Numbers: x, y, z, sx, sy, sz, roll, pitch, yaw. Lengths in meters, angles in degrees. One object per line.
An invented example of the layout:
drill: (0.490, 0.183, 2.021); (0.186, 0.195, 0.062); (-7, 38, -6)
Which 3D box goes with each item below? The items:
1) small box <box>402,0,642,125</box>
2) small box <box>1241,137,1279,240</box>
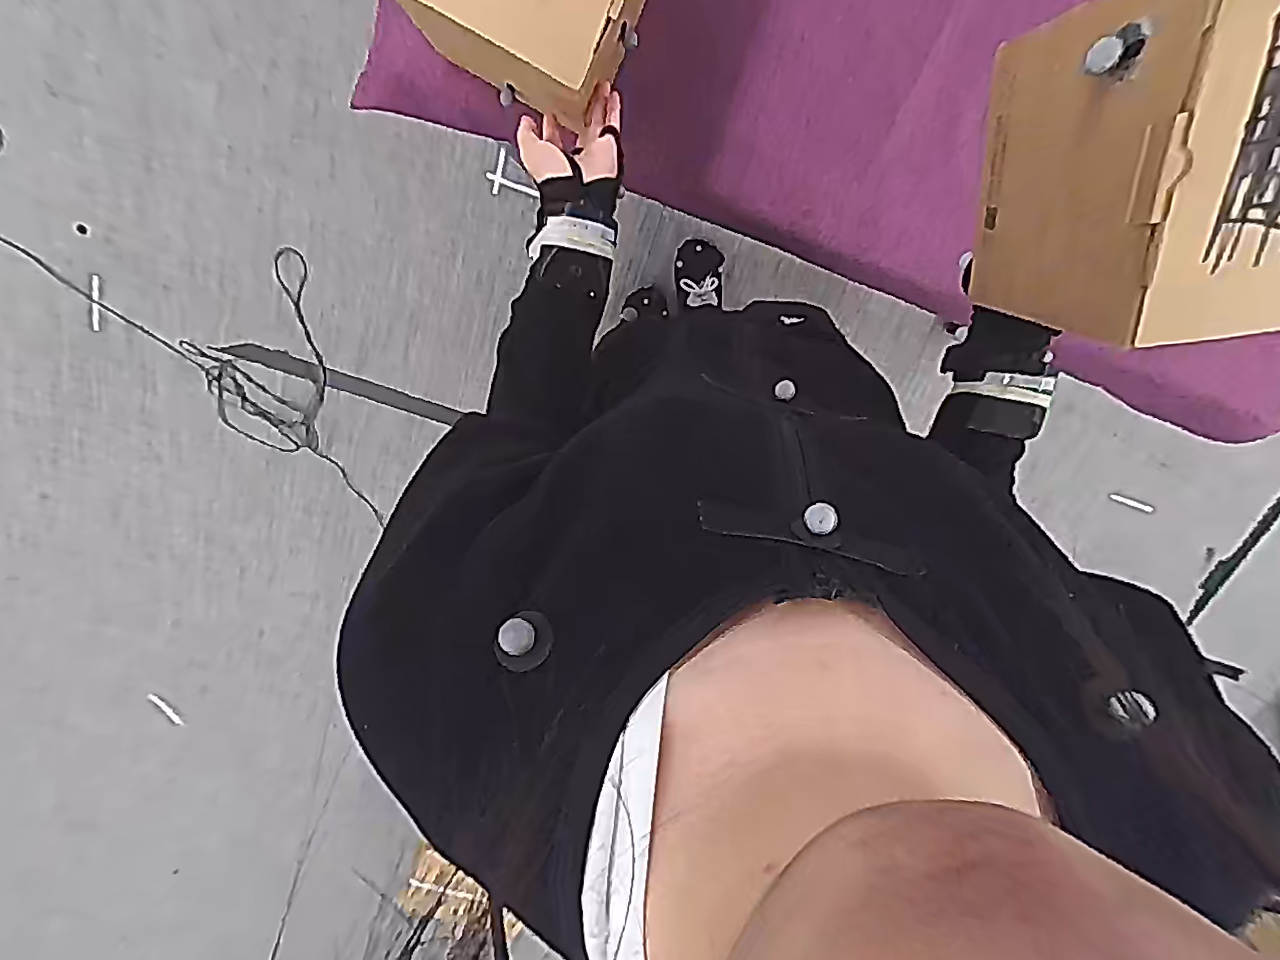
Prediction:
small box: (-0.095, -0.459, 0.493); (0.179, 0.176, 0.168); (24, 107, -13)
small box: (0.822, -0.341, 0.573); (0.168, 0.176, 0.179); (22, 108, -9)
